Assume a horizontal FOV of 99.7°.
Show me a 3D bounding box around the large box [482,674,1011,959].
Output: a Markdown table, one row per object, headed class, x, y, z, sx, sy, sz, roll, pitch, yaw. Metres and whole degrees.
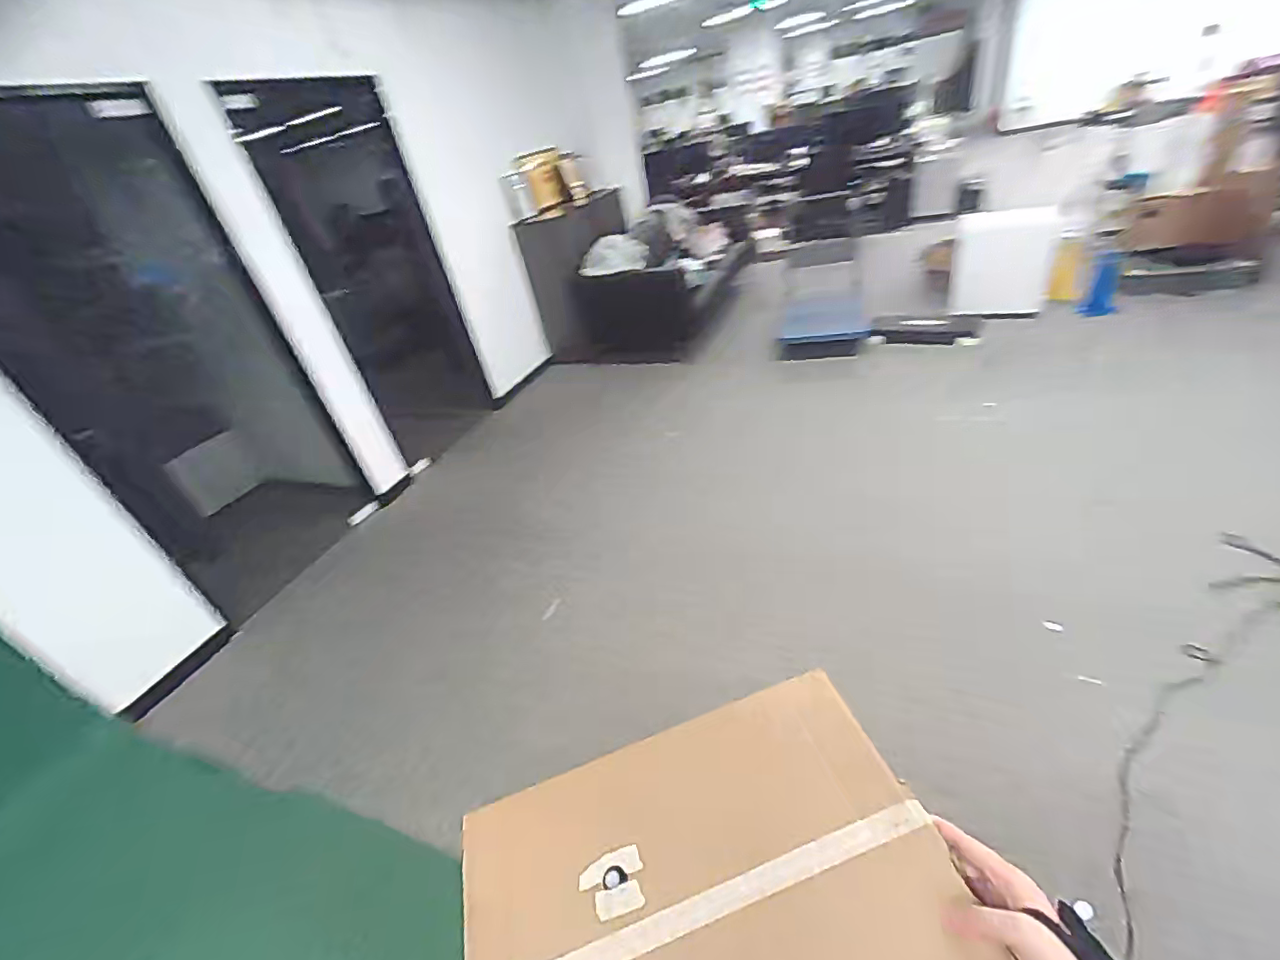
| class | x | y | z | sx | sy | sz | roll | pitch | yaw |
| --- | --- | --- | --- | --- | --- | --- | --- | --- | --- |
| large box | 0.098 | 0.476 | 0.555 | 0.408 | 0.320 | 0.320 | -21 | 39 | -3 |
